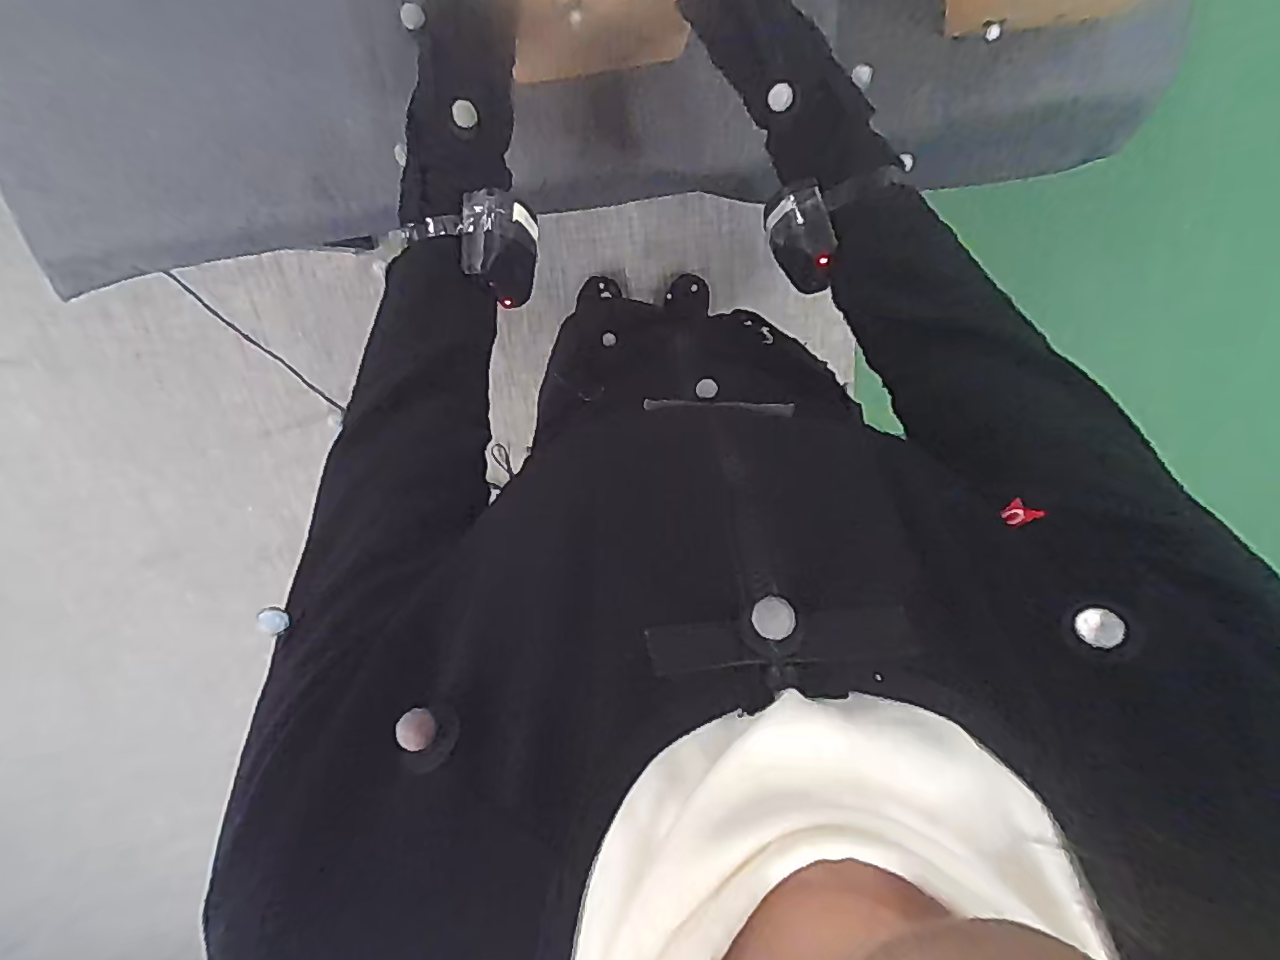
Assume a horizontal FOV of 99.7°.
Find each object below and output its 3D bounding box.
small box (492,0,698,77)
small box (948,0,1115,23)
[{"bbox_3d":[-0.047,-0.462,0.432,0.168,0.176,0.179,-9,112,0],"label":"small box"},{"bbox_3d":[0.376,-0.509,0.437,0.168,0.176,0.179,-7,110,0],"label":"small box"}]
